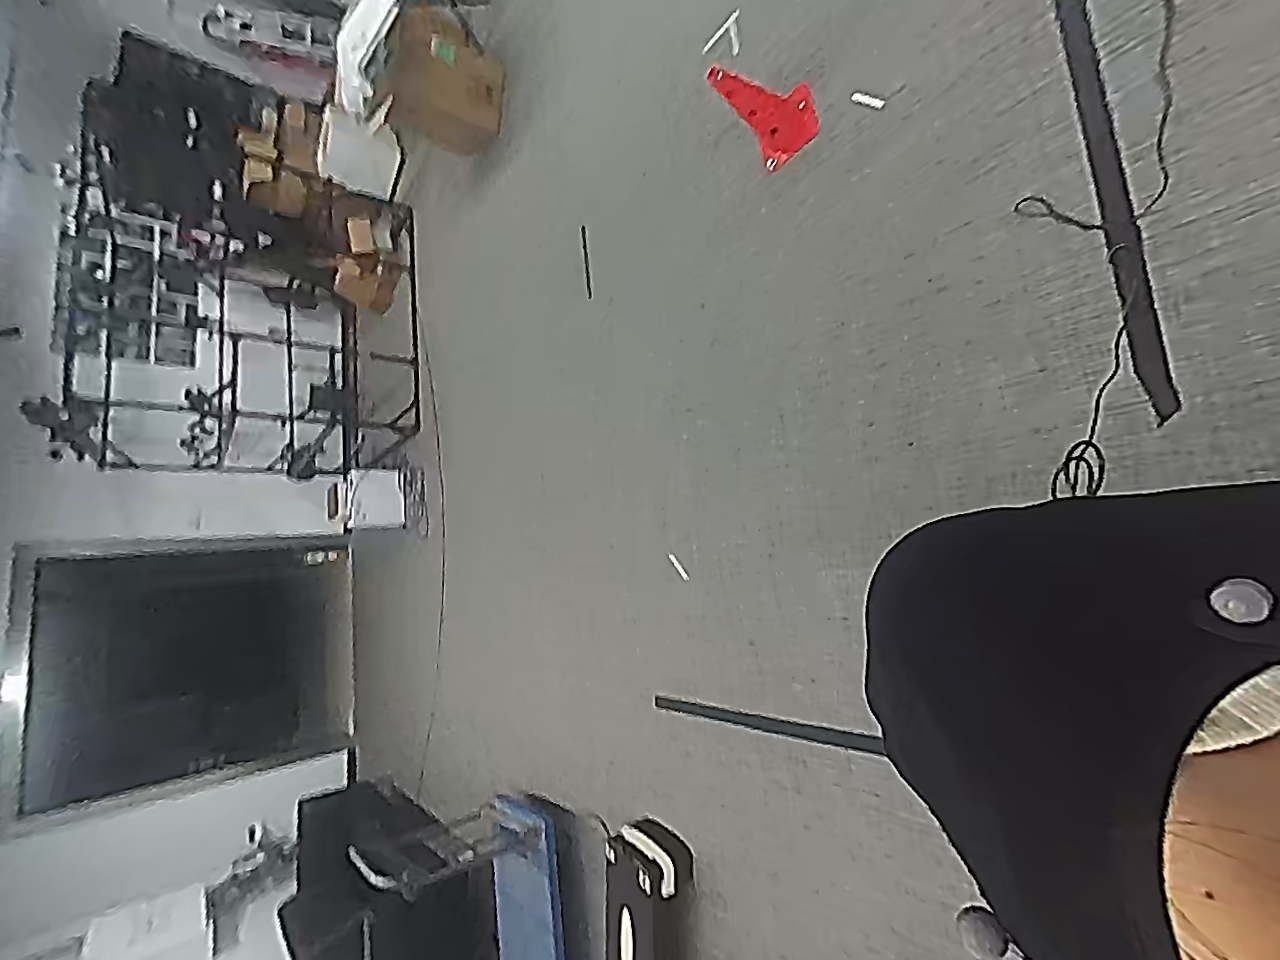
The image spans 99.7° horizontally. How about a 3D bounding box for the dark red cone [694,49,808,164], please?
[{"bbox_3d":[0.307,-1.135,1.590,0.201,0.394,0.202,-25,70,46],"label":"dark red cone"}]
